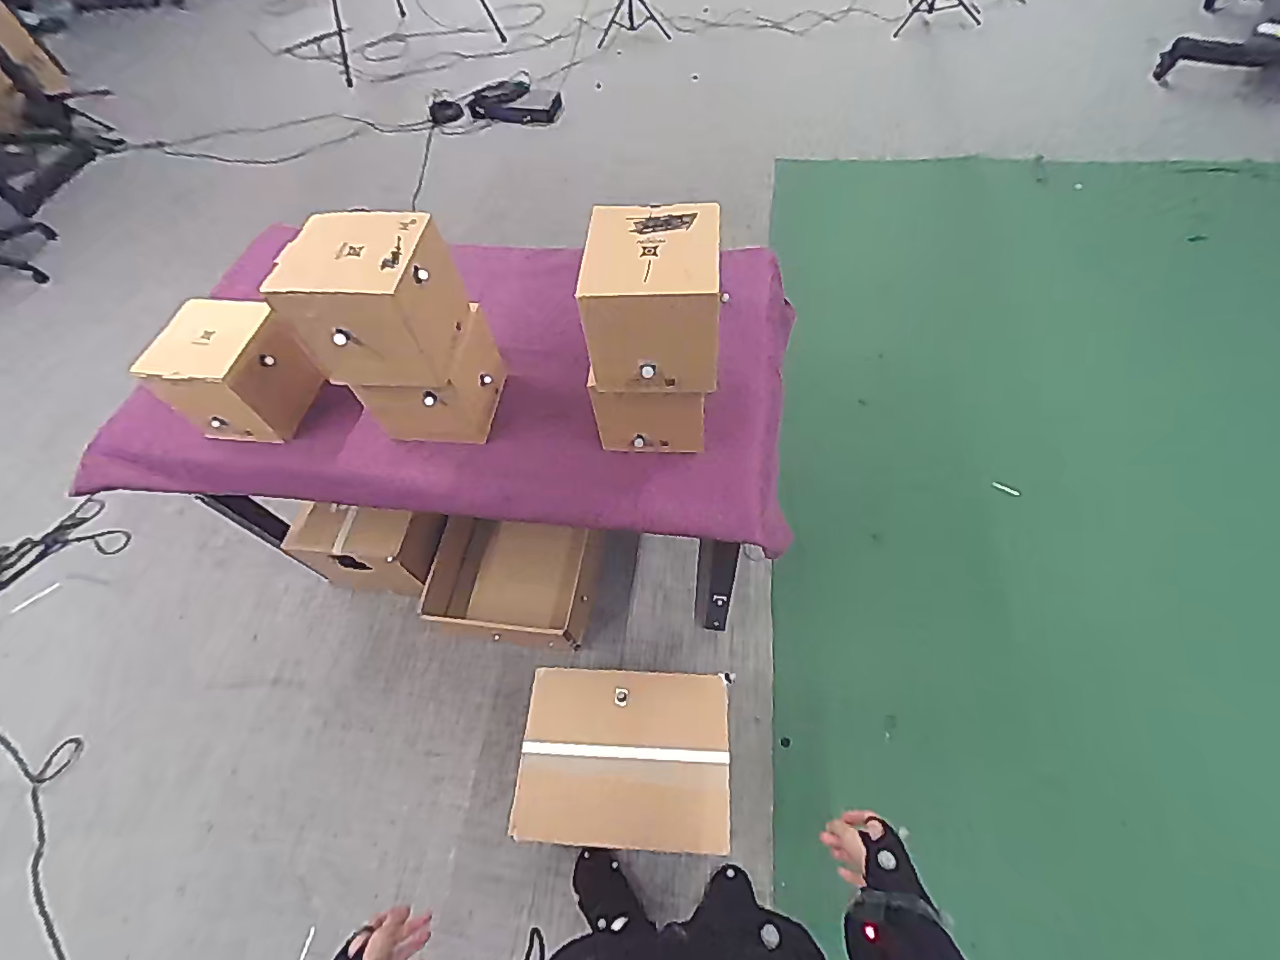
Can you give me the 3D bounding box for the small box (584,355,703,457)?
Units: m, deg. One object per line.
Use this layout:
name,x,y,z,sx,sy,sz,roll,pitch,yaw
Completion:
small box,0.016,-0.157,0.864,0.168,0.176,0.179,1,58,7

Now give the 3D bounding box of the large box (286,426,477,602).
large box,-0.702,0.099,1.549,0.320,0.320,0.408,4,60,7

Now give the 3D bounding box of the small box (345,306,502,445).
small box,-0.348,-0.172,0.904,0.179,0.176,0.168,3,58,7

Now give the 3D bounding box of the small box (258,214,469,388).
small box,-0.367,-0.244,0.757,0.179,0.176,0.168,2,58,7

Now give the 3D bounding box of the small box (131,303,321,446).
small box,-0.699,-0.182,0.943,0.168,0.176,0.179,4,59,7

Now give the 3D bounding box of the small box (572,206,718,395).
small box,0.017,-0.234,0.717,0.168,0.176,0.179,1,58,8
